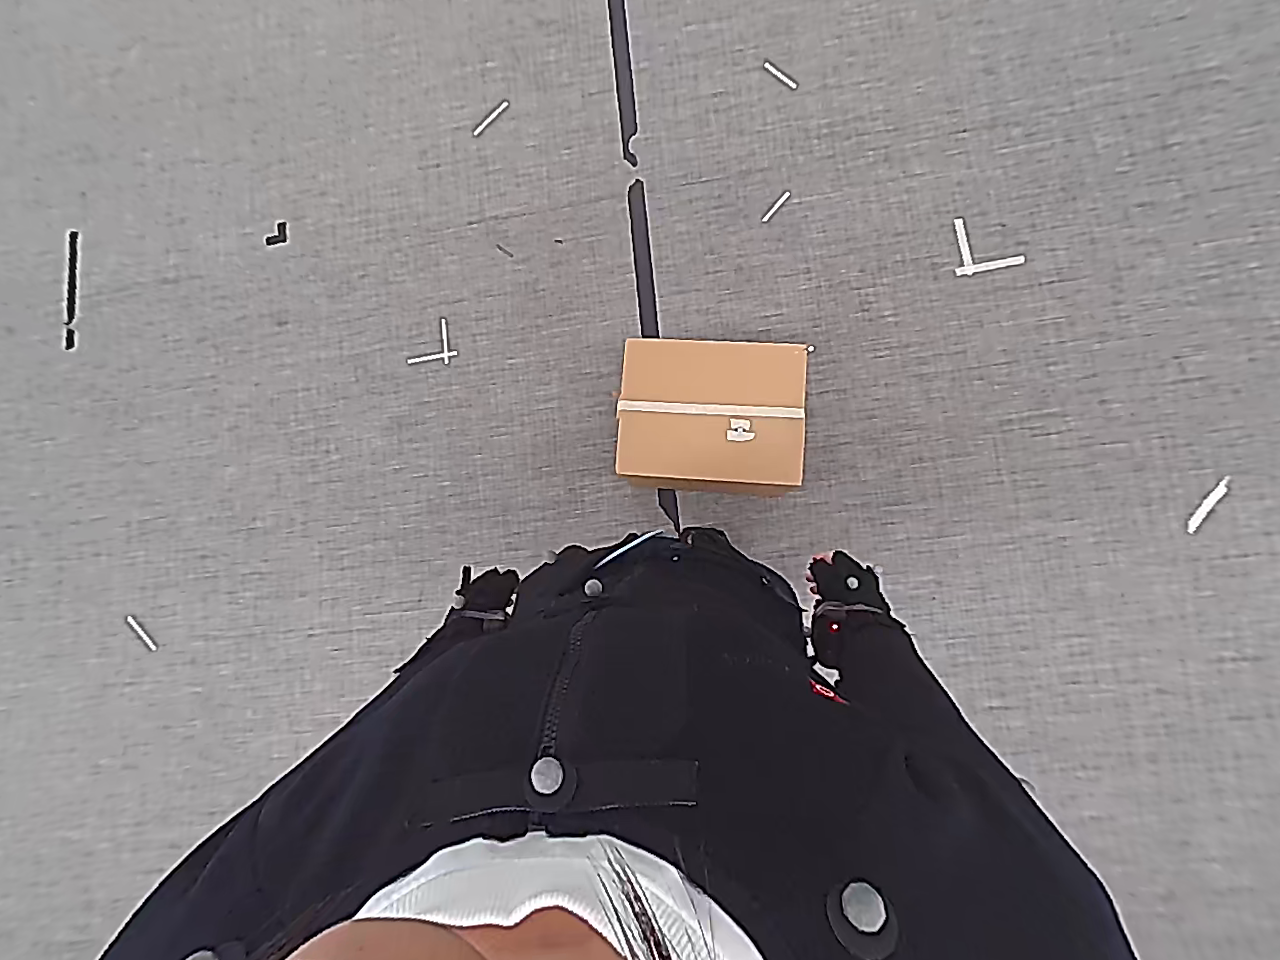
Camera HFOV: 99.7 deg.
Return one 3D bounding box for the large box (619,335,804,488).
[{"bbox_3d":[0.170,-0.154,1.347,0.408,0.320,0.320,4,85,6],"label":"large box"}]
